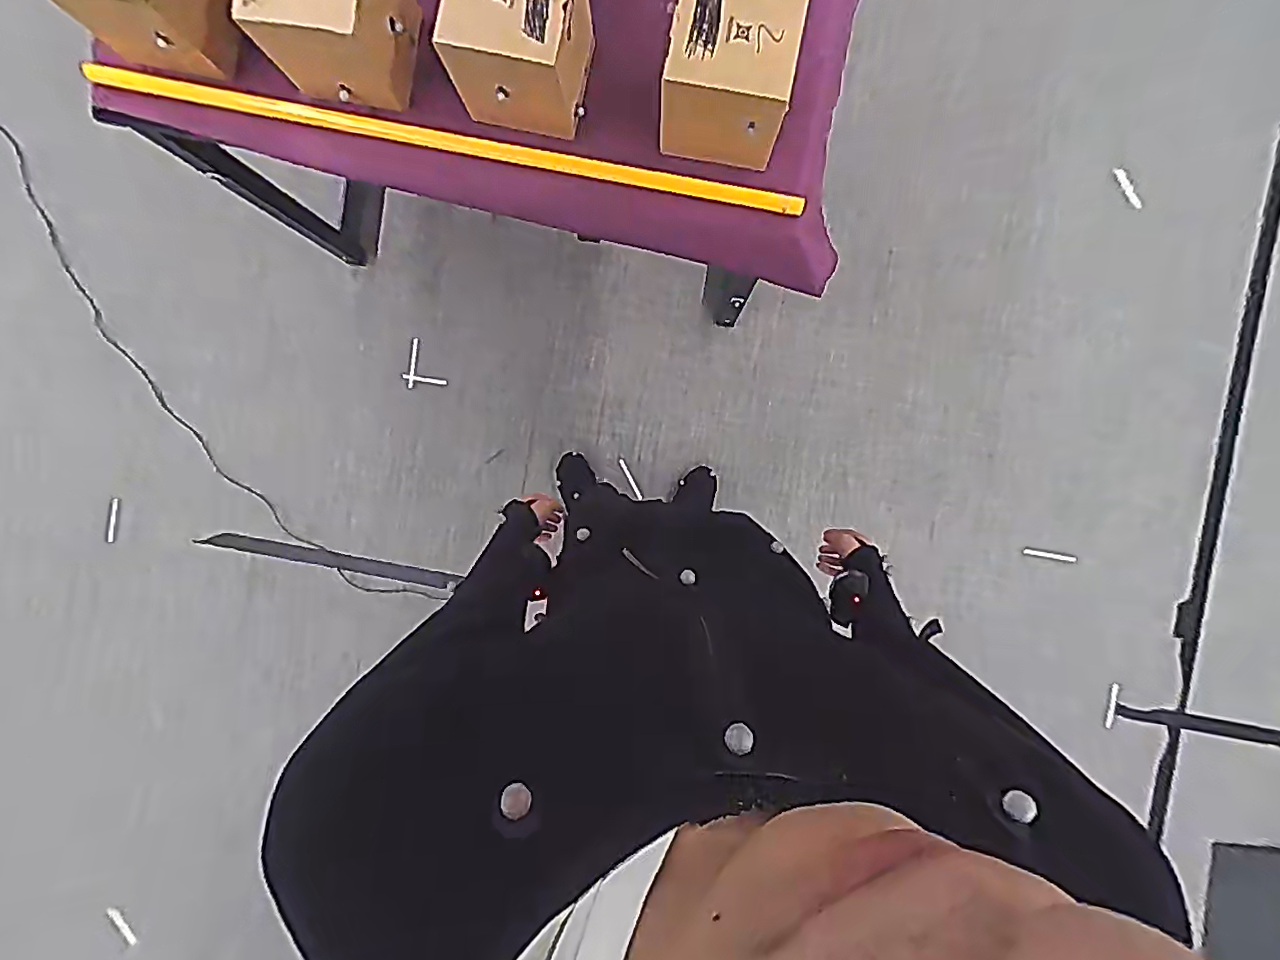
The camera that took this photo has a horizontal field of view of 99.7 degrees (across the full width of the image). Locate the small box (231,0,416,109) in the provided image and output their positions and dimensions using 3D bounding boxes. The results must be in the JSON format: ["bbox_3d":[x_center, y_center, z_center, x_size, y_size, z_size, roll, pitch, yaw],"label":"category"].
[{"bbox_3d":[-0.463,-0.703,0.818,0.179,0.176,0.168,9,92,0],"label":"small box"}]

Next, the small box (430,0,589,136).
[{"bbox_3d":[-0.182,-0.655,0.811,0.179,0.176,0.168,13,91,2],"label":"small box"}]

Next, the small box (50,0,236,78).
[{"bbox_3d":[-0.753,-0.758,0.821,0.179,0.176,0.168,10,92,-1],"label":"small box"}]
